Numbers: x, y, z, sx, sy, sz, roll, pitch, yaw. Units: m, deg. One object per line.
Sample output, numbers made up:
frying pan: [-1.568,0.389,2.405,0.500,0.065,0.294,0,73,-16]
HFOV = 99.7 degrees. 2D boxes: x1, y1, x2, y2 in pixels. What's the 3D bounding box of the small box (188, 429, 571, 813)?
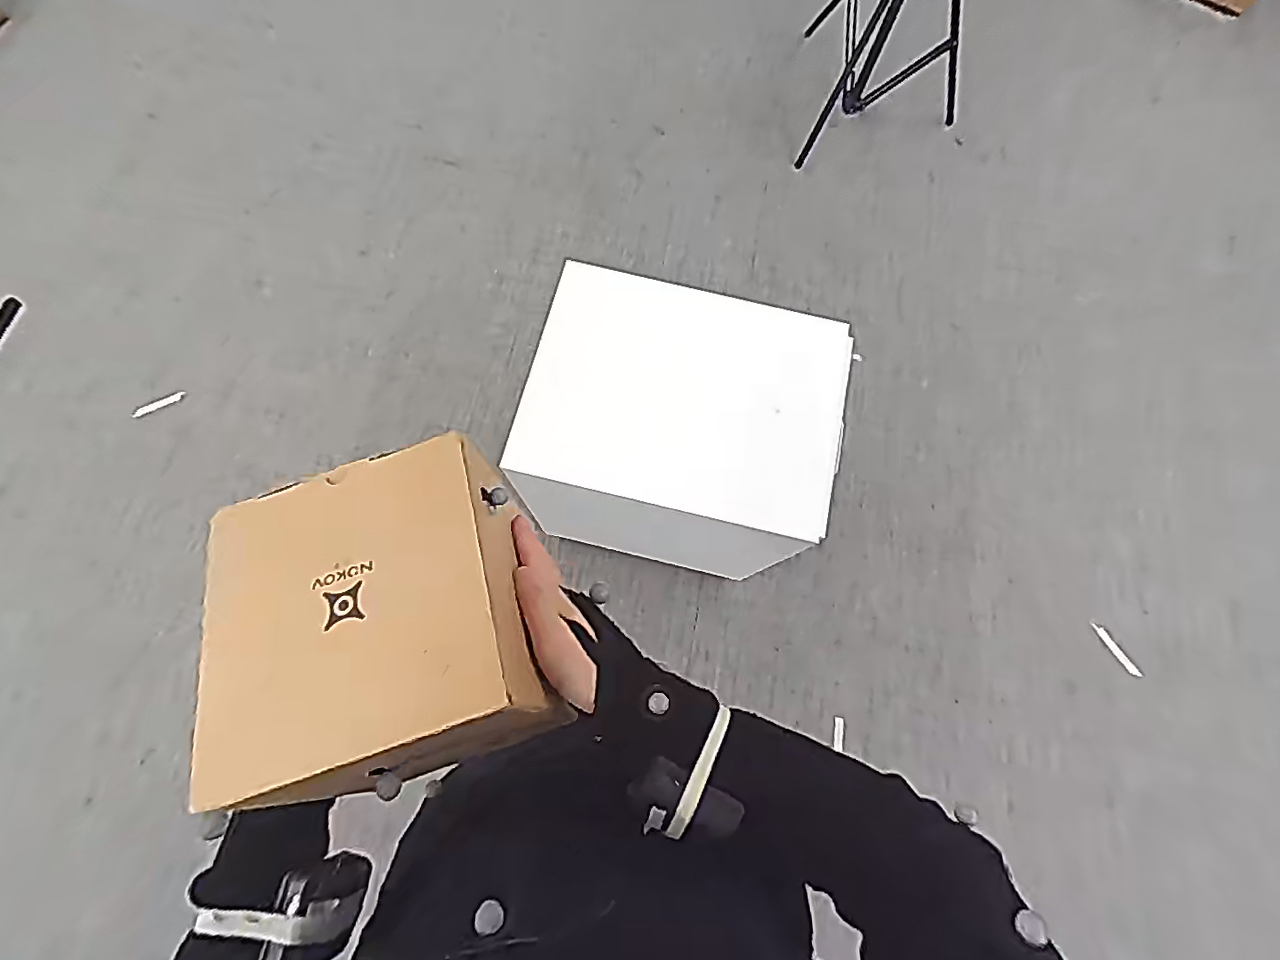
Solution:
small box: [-0.159,0.100,0.375,0.168,0.176,0.179,-19,62,-2]
